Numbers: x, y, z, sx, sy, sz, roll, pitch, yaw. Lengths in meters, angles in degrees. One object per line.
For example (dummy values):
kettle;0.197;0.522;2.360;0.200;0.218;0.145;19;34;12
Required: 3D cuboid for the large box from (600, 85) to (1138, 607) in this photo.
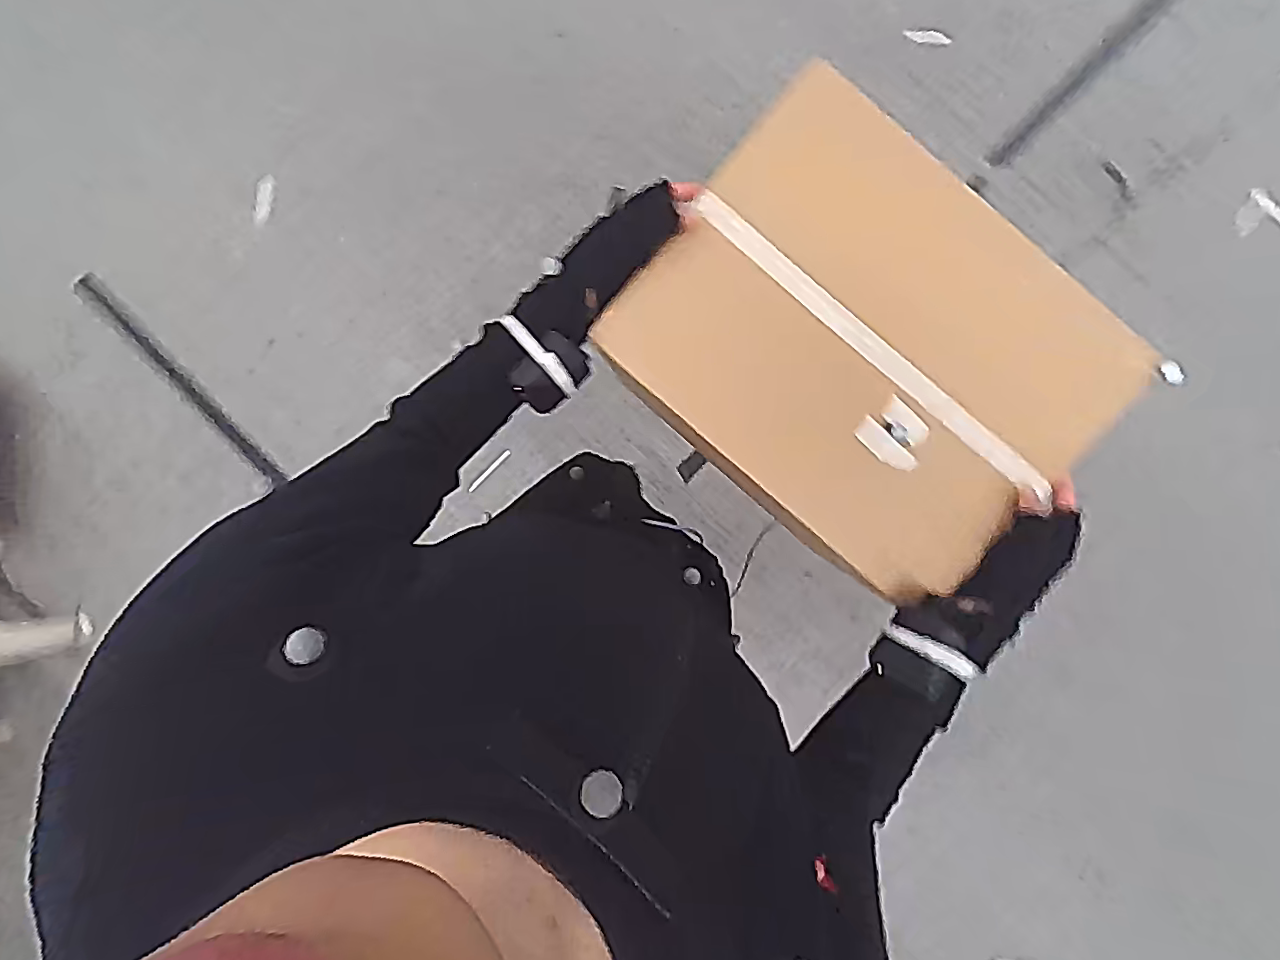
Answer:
large box;0.210;-0.127;0.646;0.408;0.320;0.320;41;95;-1
